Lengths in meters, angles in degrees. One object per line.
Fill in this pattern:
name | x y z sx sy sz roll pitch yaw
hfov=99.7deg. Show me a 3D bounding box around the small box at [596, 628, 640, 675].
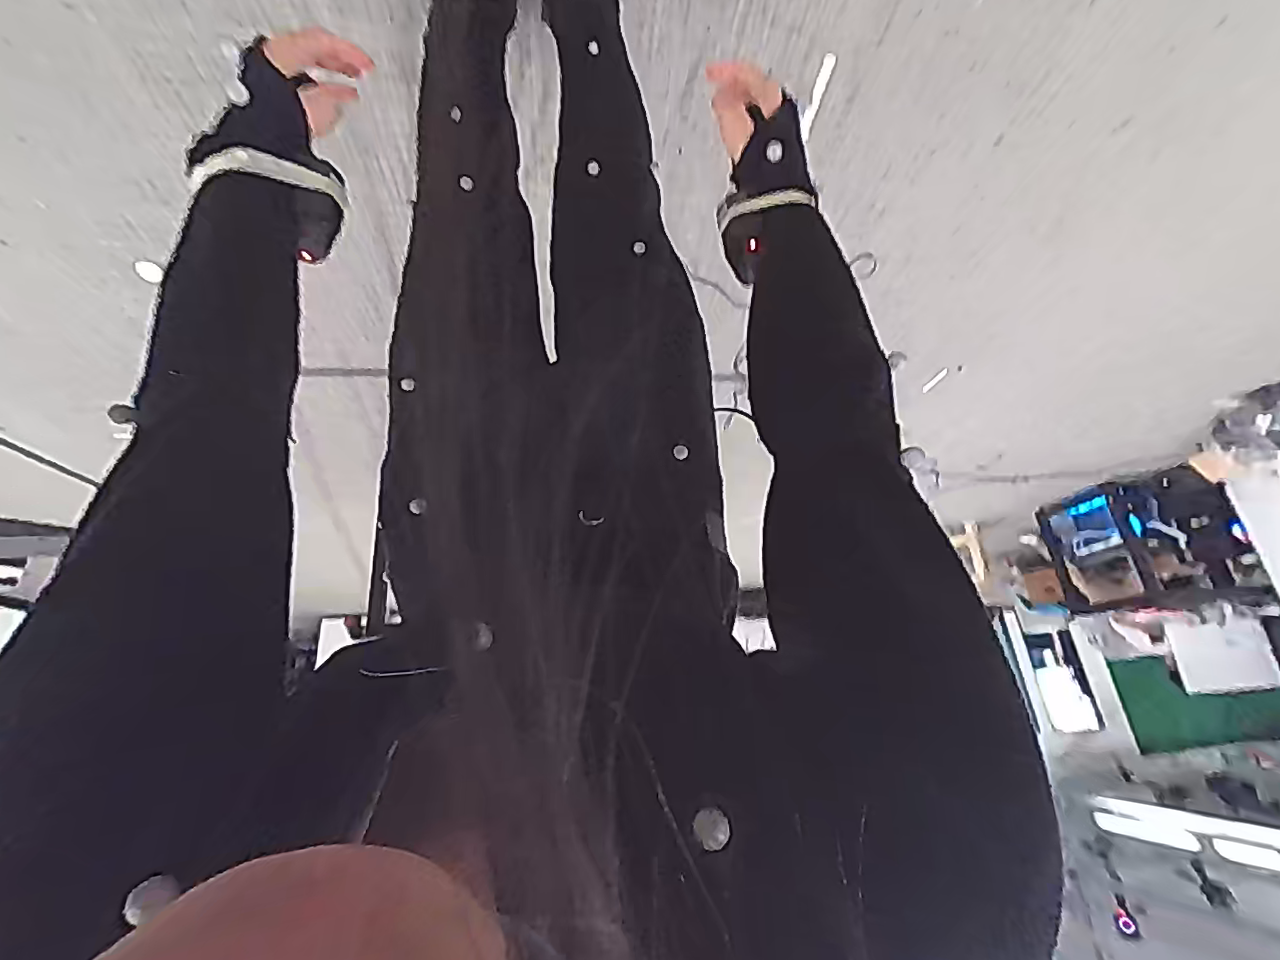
small box | -0.094 0.709 2.235 0.168 0.176 0.179 -3 158 -7
